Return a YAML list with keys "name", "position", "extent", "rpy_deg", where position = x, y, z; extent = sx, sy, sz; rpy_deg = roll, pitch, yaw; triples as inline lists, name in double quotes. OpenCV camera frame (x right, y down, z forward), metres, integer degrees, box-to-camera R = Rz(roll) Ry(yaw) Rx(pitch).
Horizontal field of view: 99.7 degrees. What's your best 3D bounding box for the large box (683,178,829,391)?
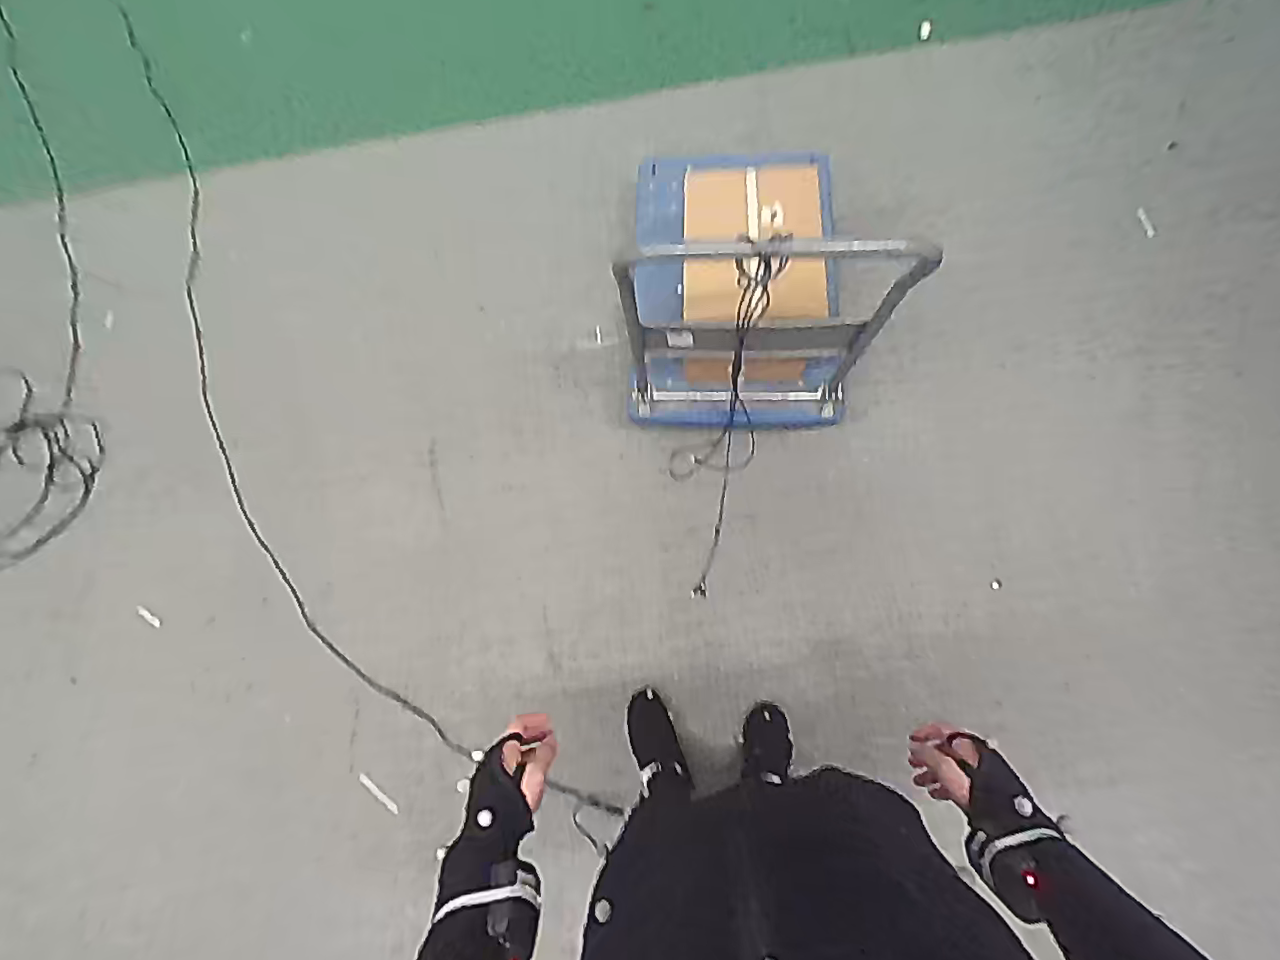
- name: "large box"
  position: [0.270, -0.474, 1.365]
  extent: [0.320, 0.320, 0.408]
  rpy_deg: [0, 73, 5]
